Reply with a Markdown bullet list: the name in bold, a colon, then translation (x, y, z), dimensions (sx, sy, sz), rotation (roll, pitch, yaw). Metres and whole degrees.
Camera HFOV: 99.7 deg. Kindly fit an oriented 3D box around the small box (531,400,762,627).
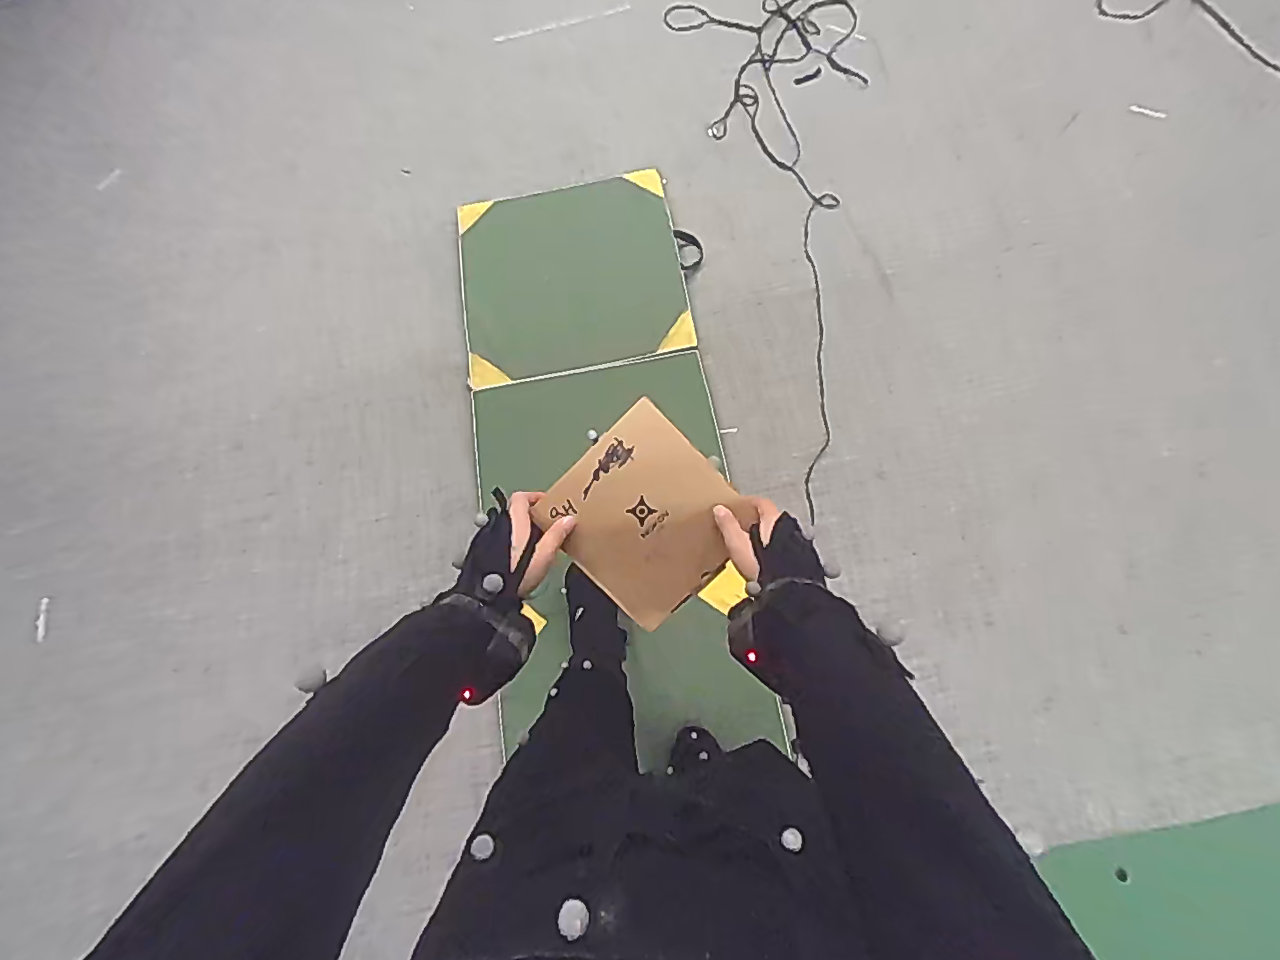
- **small box**: translation (0.007, 0.027, 0.618), dimensions (0.168, 0.176, 0.179), rotation (-45, 94, 2)
